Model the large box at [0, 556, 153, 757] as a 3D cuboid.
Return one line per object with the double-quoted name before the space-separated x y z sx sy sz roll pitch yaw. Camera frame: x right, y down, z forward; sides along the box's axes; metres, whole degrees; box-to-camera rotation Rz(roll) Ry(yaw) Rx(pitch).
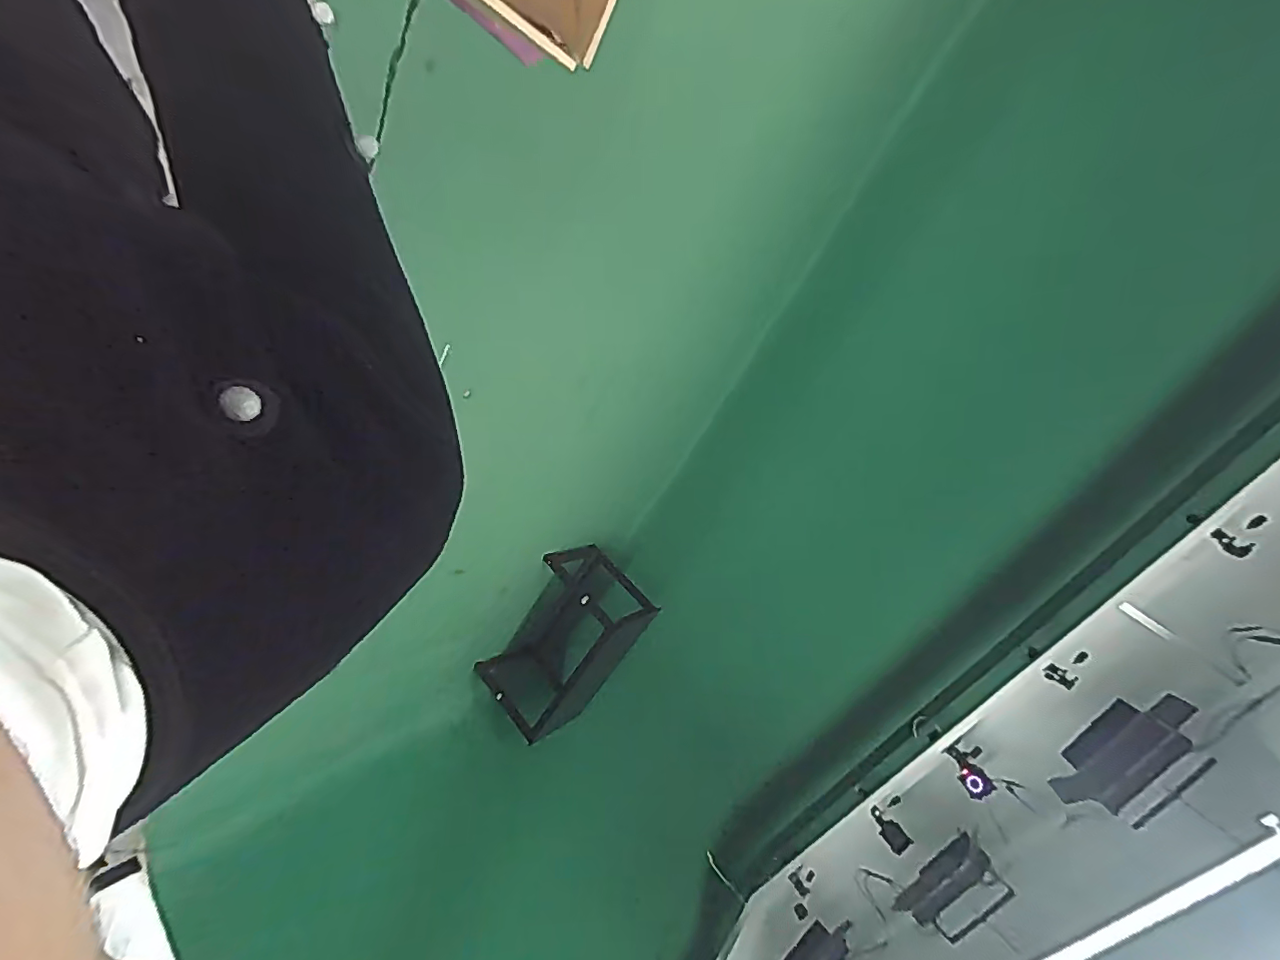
"large box" -1.731 0.494 1.513 0.408 0.320 0.320 -34 155 -30
